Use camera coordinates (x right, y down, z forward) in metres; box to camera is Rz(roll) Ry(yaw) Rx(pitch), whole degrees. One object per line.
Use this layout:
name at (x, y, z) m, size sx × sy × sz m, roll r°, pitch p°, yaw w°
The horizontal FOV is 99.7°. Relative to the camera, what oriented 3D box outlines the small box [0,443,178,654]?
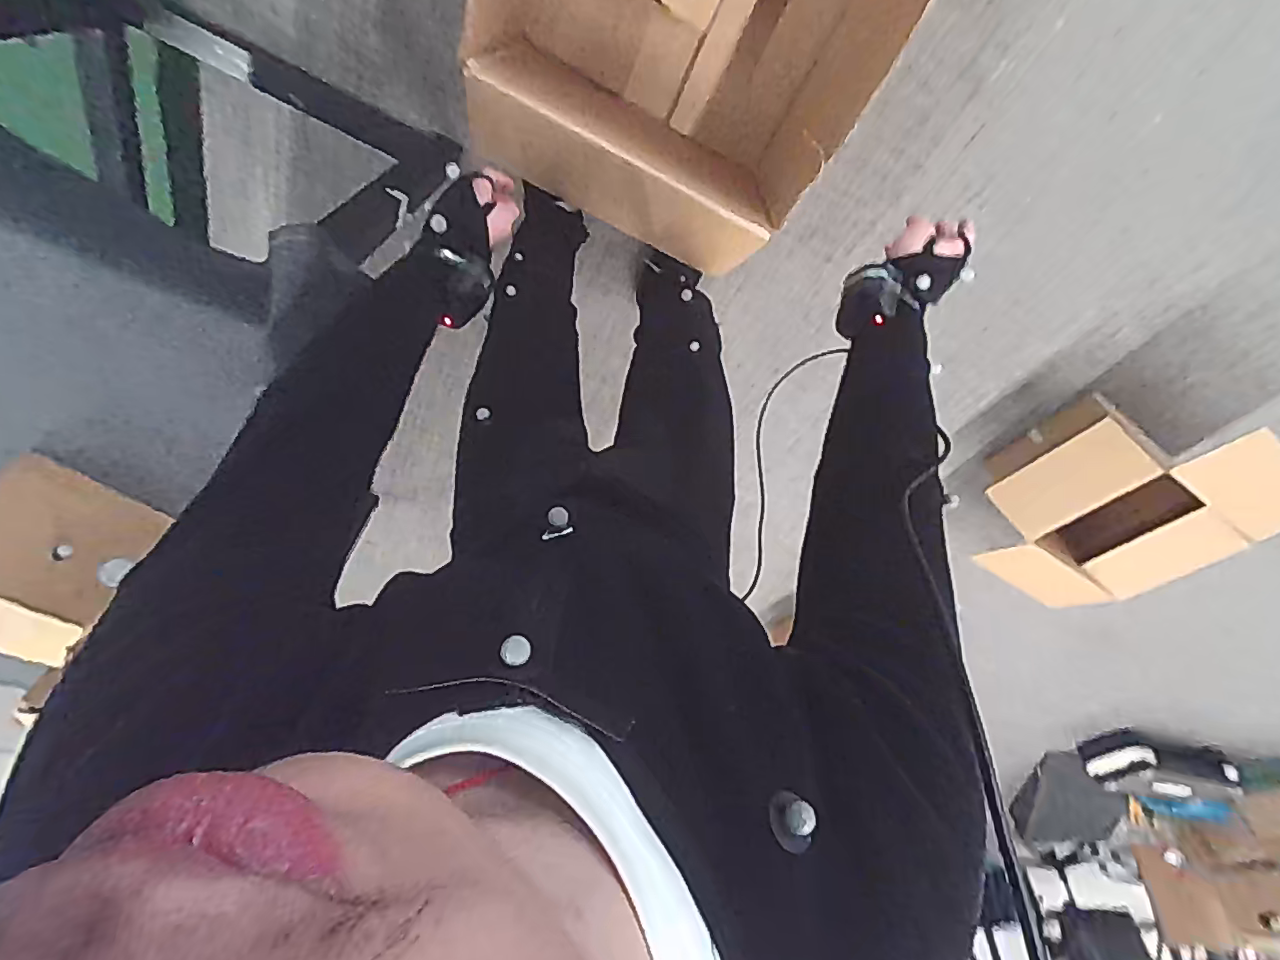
small box at (-0.741, 0.086, 0.676) m, size 0.168 × 0.176 × 0.179 m, roll -31°, pitch 125°, yaw 29°
